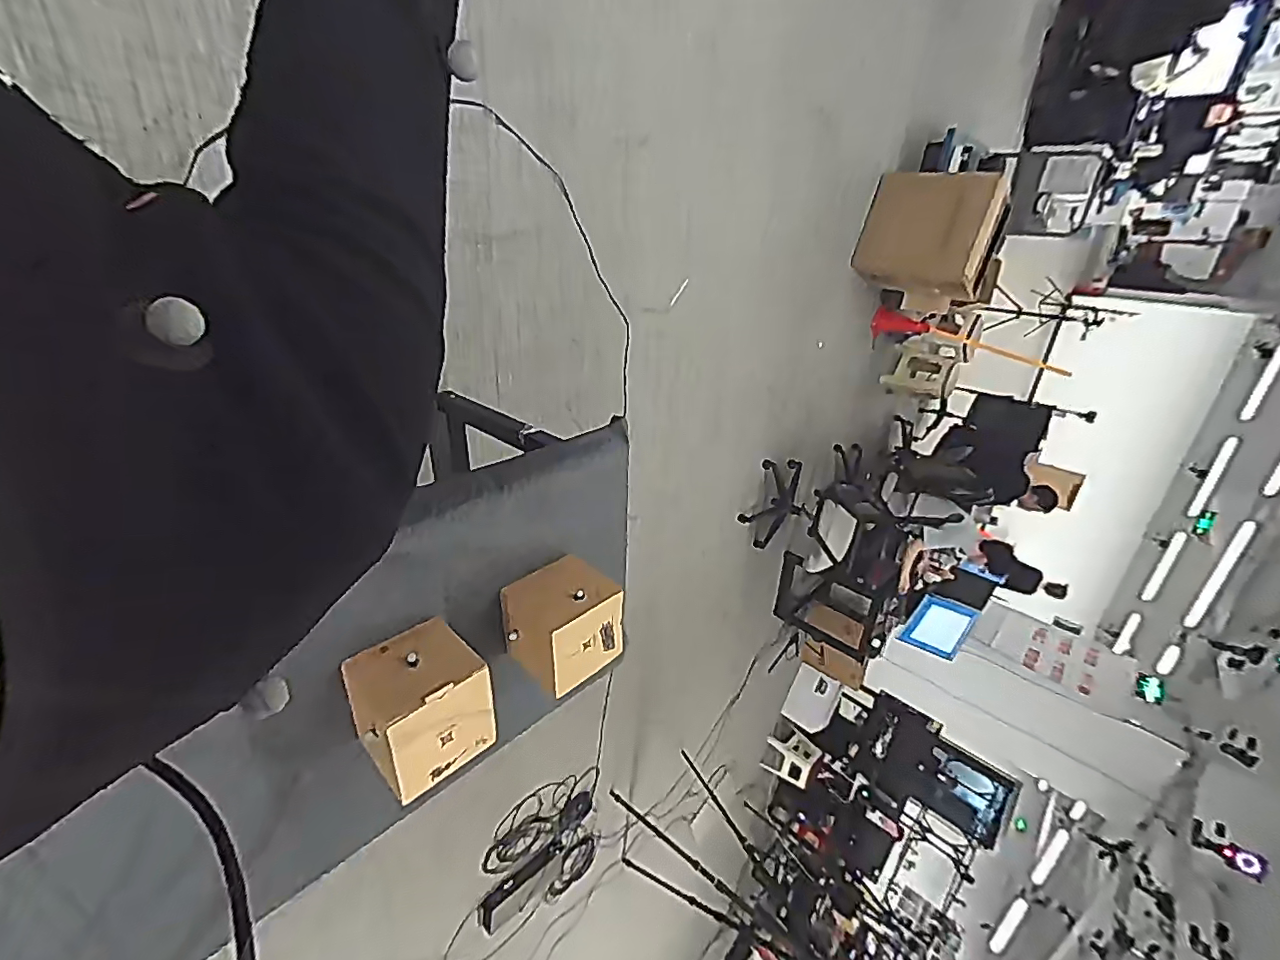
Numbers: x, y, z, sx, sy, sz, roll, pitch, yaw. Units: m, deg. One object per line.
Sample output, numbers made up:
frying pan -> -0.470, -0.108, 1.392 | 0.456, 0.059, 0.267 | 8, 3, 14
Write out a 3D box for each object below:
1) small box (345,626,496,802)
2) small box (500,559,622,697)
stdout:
small box -> -0.359, 0.366, 0.888 | 0.168, 0.176, 0.179 | -23, 125, -42
small box -> -0.156, 0.285, 1.084 | 0.179, 0.176, 0.168 | -24, 126, -40
